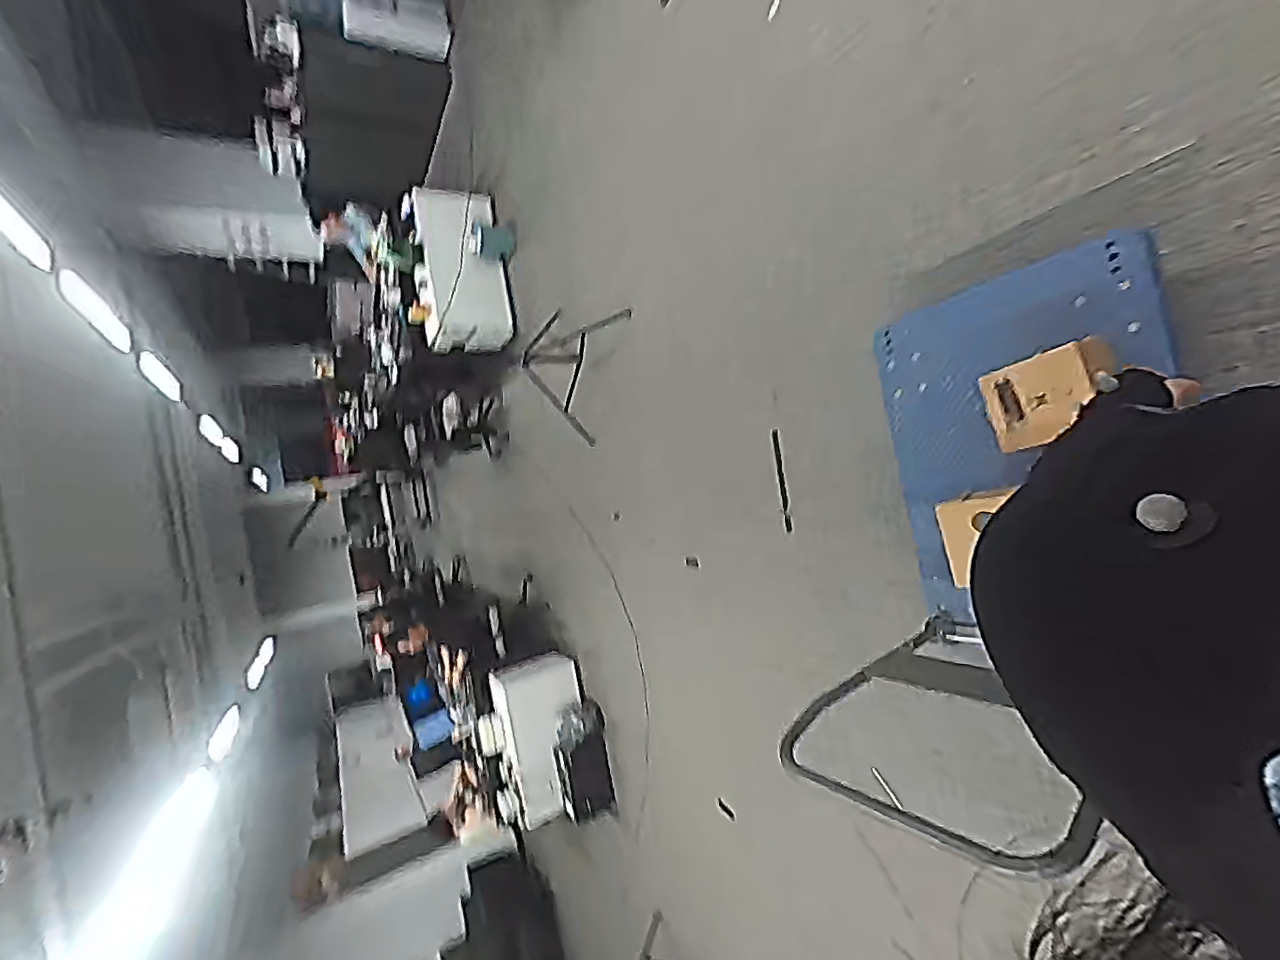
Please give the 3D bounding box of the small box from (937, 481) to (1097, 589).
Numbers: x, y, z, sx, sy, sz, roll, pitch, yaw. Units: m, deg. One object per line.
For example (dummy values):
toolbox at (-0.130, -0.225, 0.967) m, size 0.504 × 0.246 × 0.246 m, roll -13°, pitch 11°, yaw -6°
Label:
small box at (0.707, 0.105, 1.019) m, size 0.179 × 0.176 × 0.168 m, roll -19°, pitch 82°, yaw 58°
